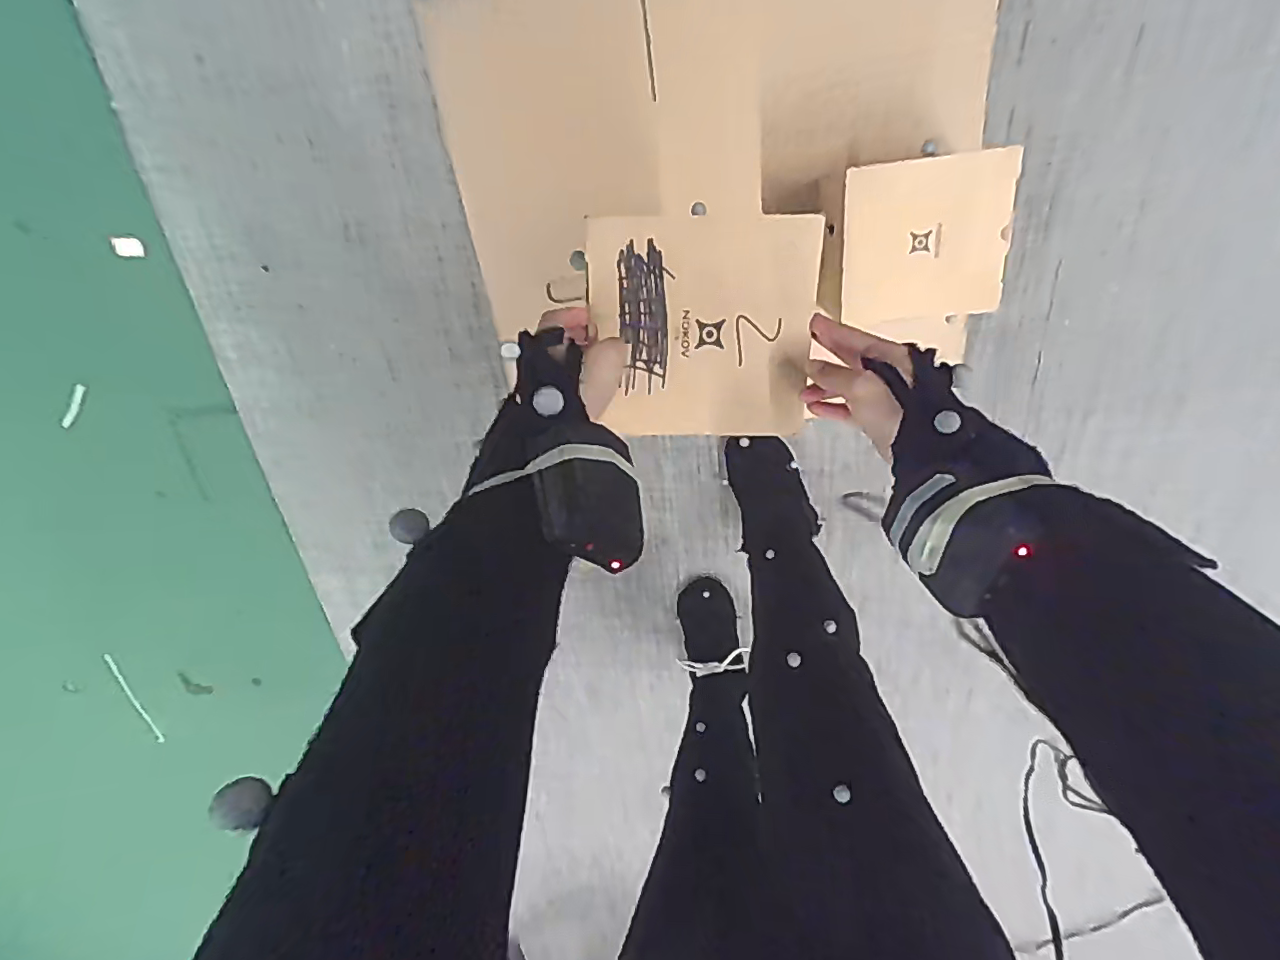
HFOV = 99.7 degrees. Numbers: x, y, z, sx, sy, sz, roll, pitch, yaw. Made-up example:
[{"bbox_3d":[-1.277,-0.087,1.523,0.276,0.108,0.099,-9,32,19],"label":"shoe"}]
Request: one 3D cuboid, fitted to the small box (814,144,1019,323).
[{"bbox_3d":[0.315,-0.294,0.660,0.179,0.176,0.168,-4,115,9],"label":"small box"}]
